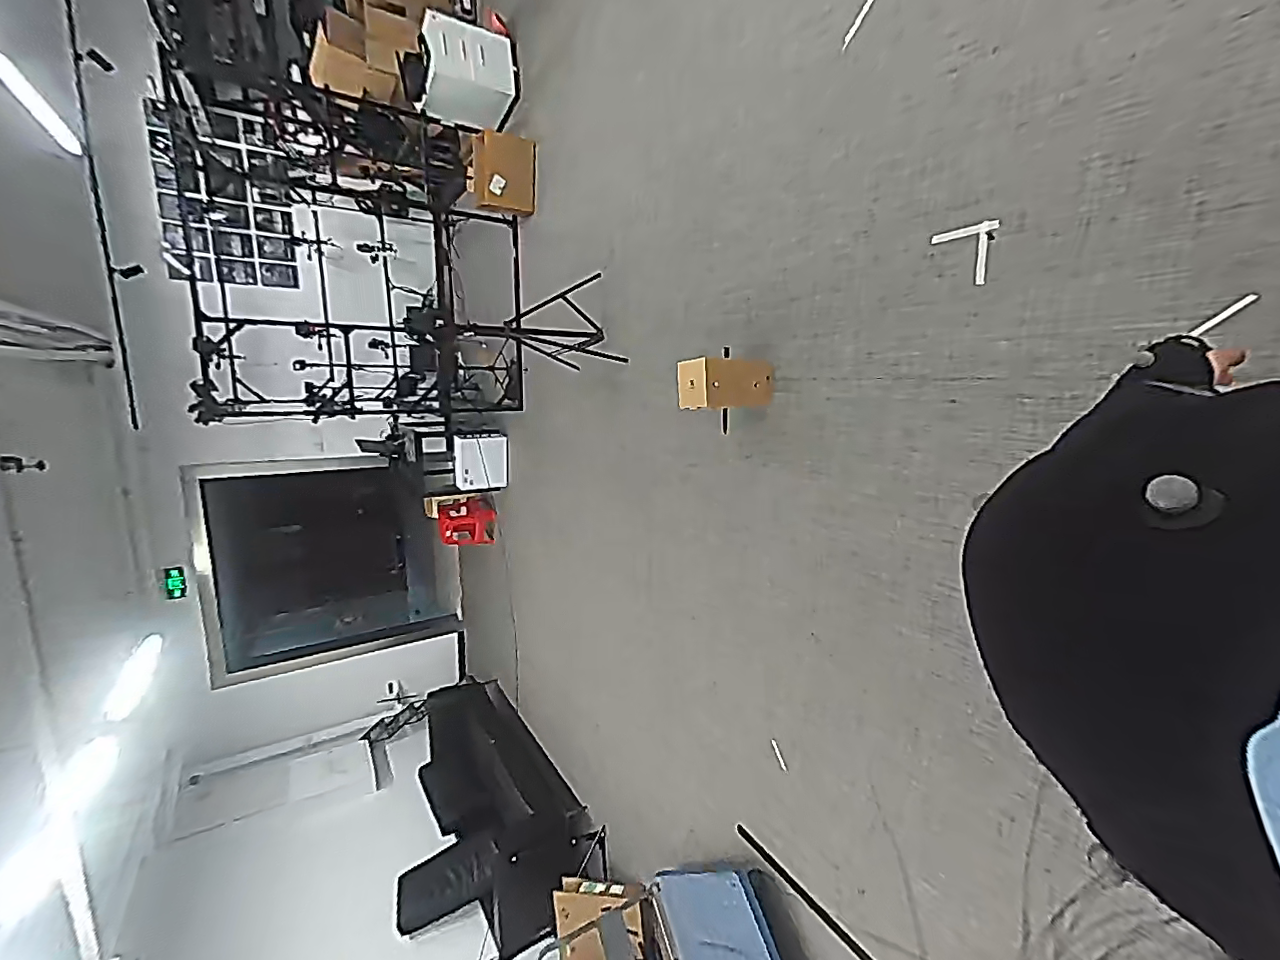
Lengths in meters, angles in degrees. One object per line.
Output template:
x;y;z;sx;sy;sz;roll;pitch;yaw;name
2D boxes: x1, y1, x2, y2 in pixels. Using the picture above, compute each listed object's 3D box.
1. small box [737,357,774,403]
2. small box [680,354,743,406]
0.398;-0.390;2.094;0.179;0.176;0.168;22;113;56;small box
0.266;-0.367;2.001;0.168;0.176;0.179;6;102;58;small box
